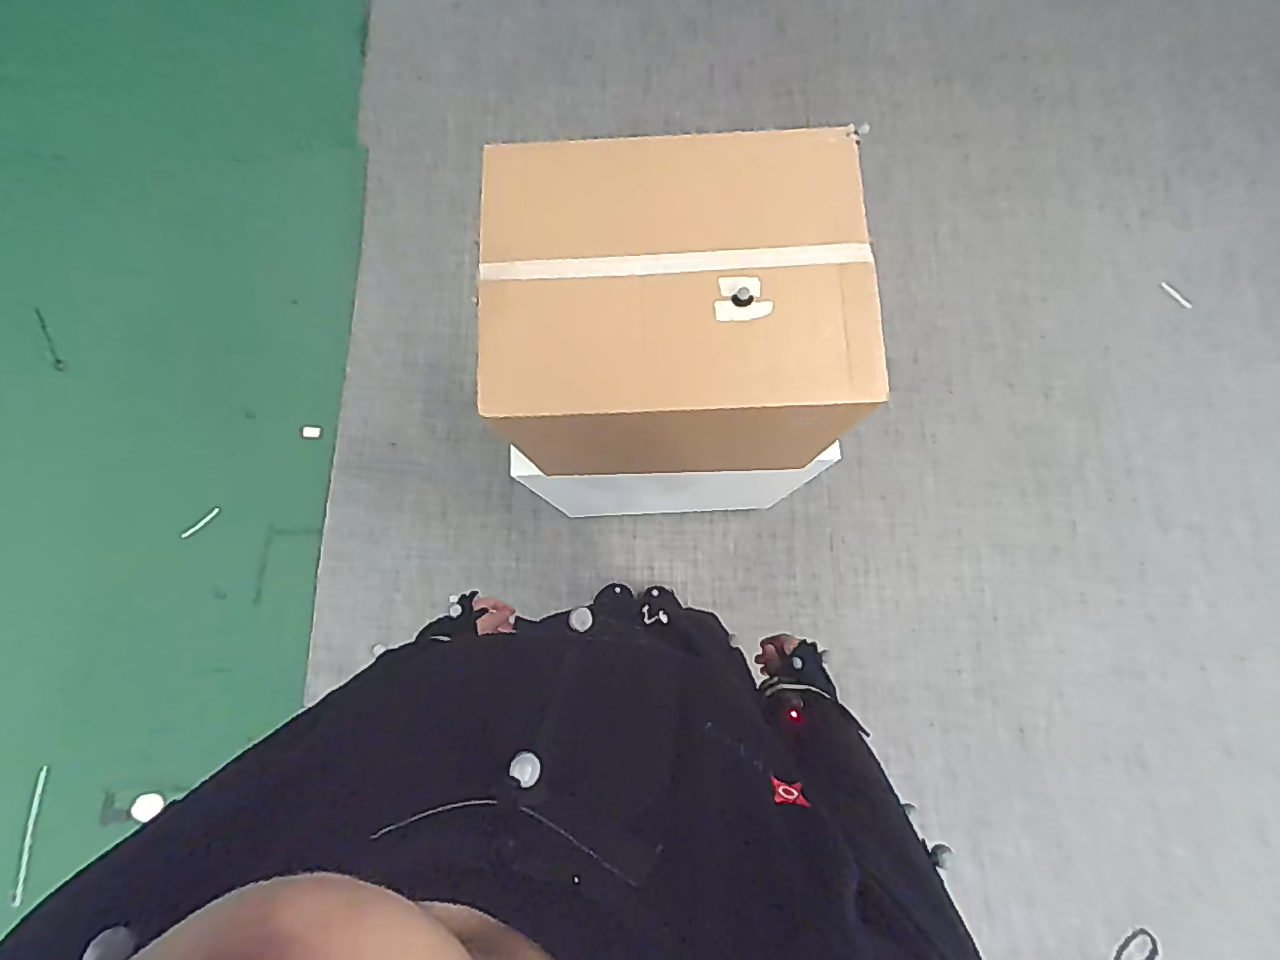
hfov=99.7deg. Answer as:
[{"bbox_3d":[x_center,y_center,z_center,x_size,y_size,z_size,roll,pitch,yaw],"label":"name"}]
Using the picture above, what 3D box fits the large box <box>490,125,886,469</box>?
[{"bbox_3d":[0.041,-0.202,0.710,0.408,0.320,0.320,-2,80,0],"label":"large box"}]
